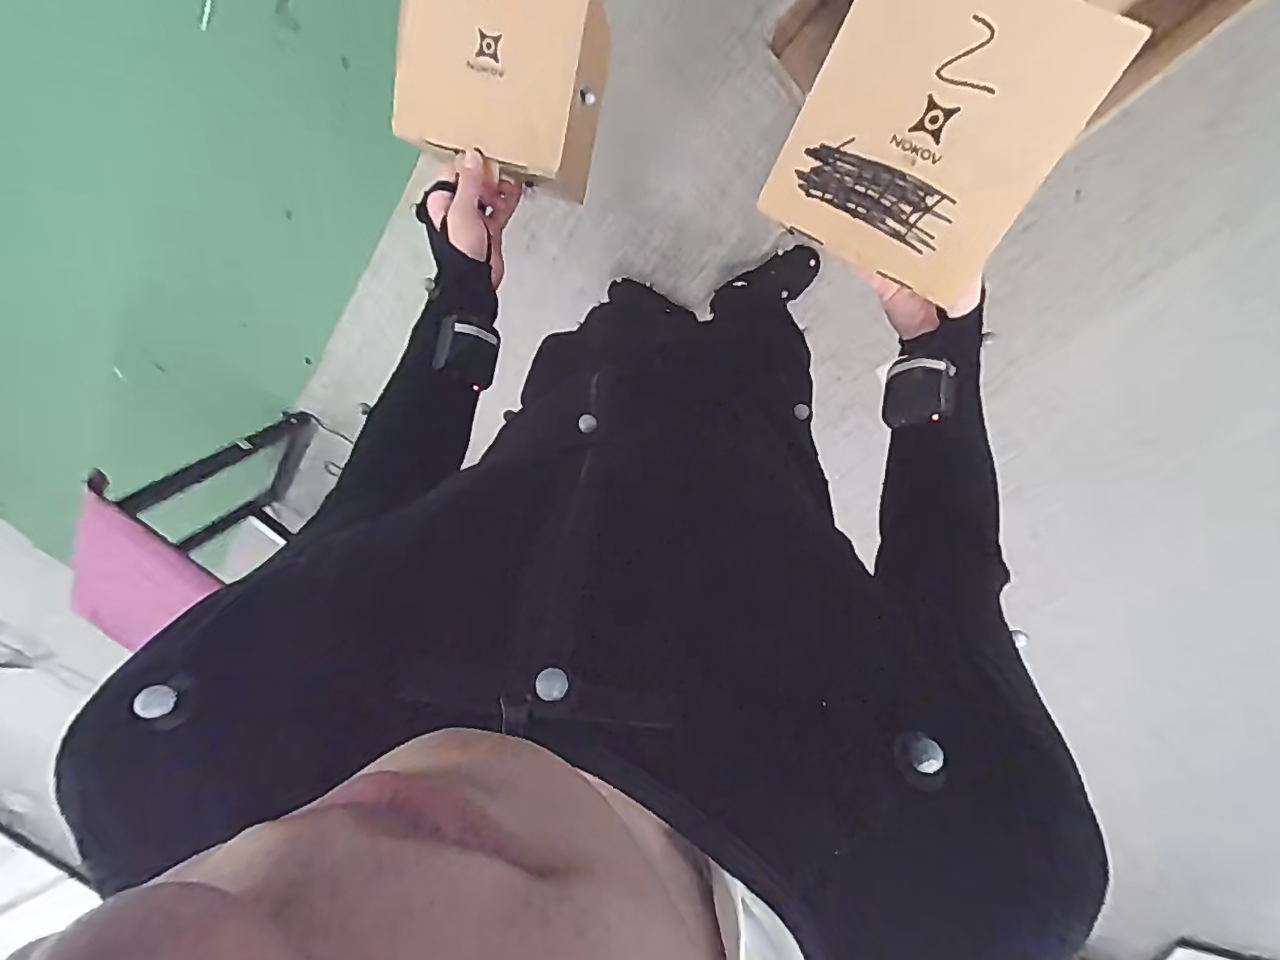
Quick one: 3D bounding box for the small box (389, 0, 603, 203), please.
[{"bbox_3d":[-0.139,-0.413,0.571,0.168,0.176,0.179,13,108,-2],"label":"small box"}]
